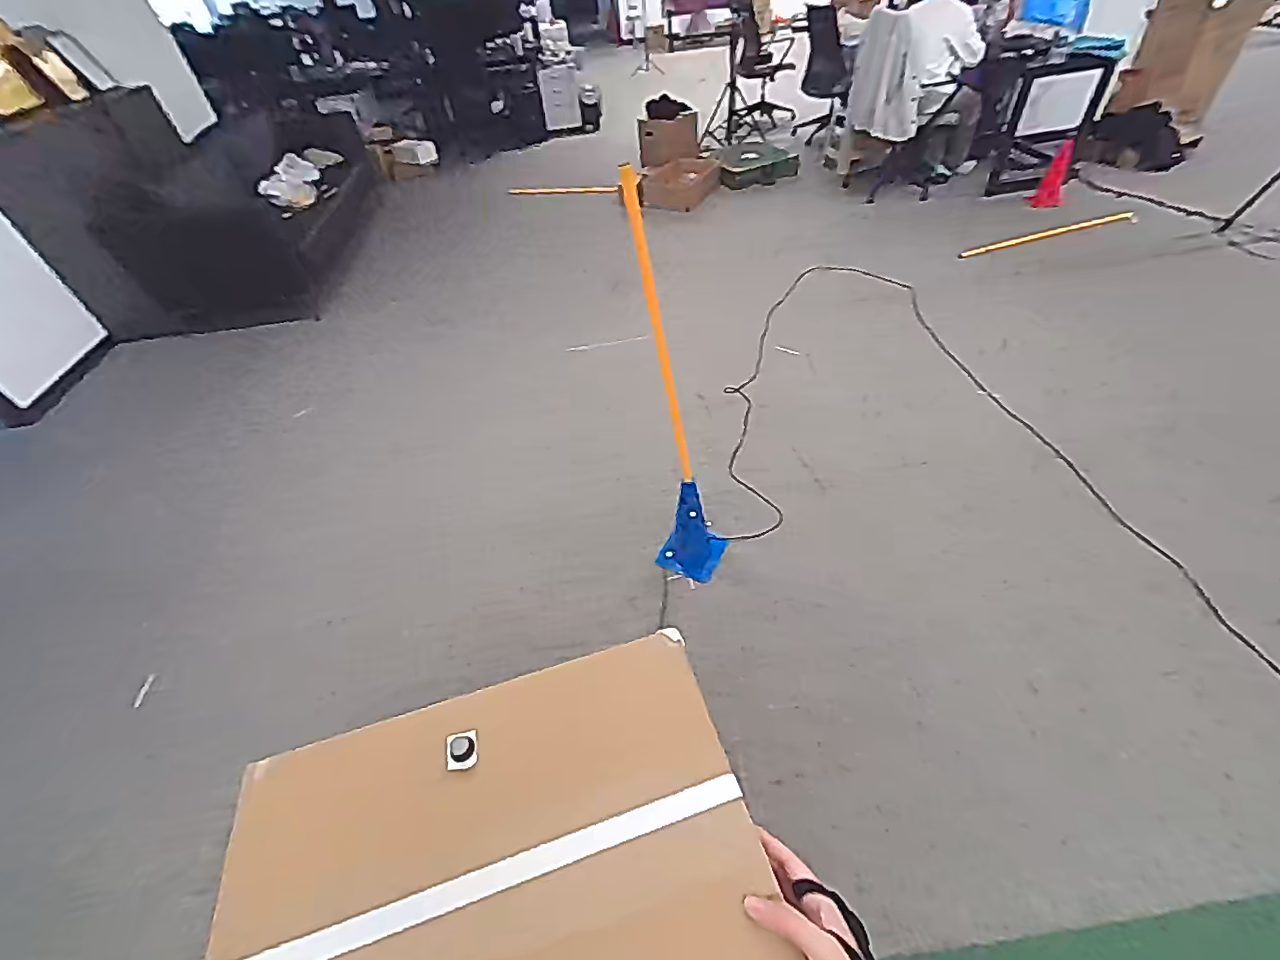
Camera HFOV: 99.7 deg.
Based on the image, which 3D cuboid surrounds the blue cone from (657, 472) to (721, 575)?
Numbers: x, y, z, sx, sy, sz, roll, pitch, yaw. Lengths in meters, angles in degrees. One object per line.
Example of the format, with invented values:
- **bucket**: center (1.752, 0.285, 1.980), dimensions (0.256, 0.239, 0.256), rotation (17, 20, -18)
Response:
- **blue cone**: center (0.151, 0.119, 1.726), dimensions (0.192, 0.380, 0.193), rotation (15, 50, 22)
